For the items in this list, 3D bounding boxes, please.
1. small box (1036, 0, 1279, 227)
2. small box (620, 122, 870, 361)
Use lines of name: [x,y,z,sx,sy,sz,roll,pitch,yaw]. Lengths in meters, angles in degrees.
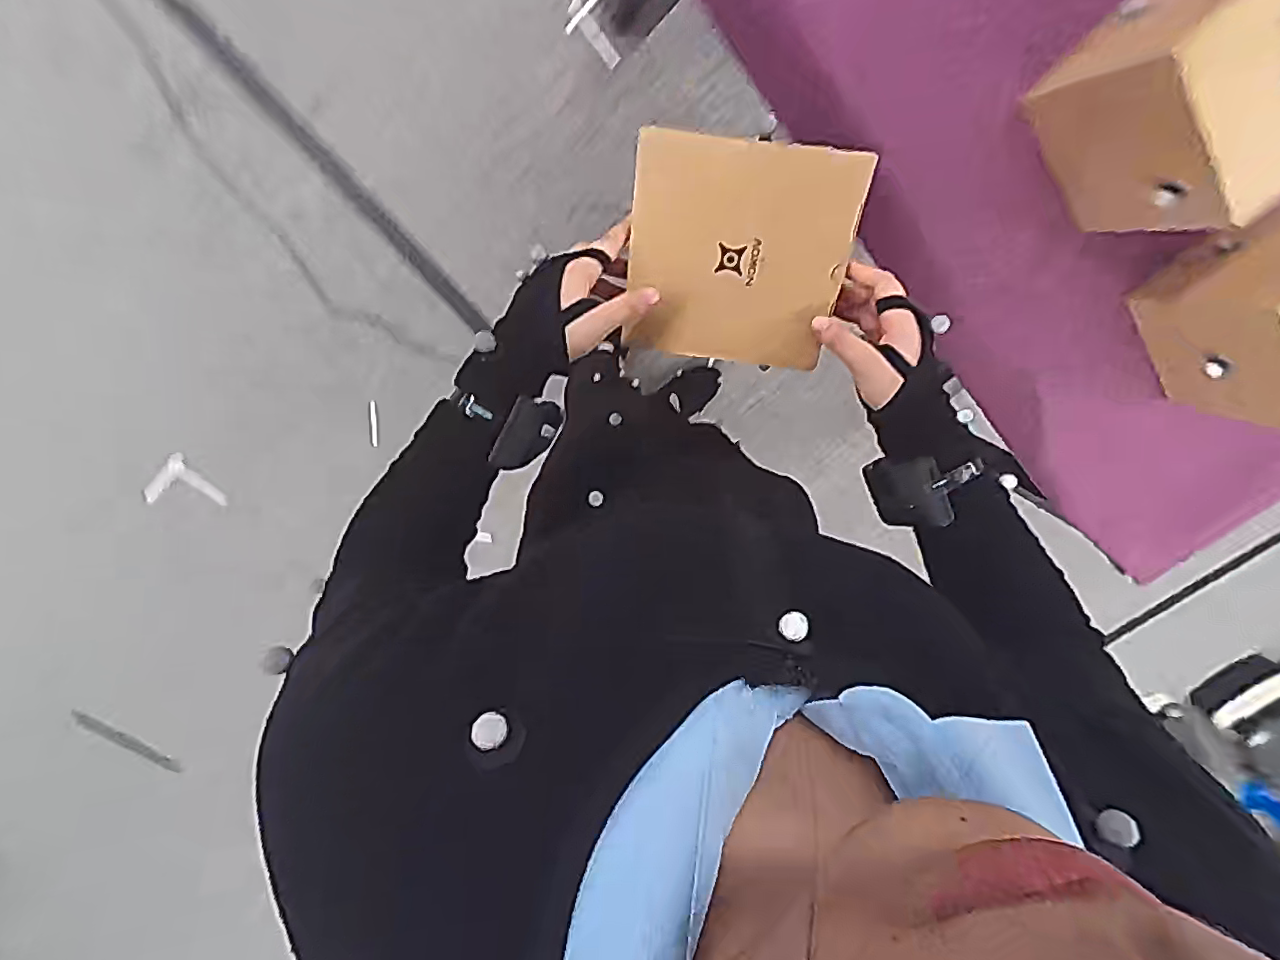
small box: [0.531,-0.366,0.505,0.168,0.176,0.179,-41,110,12]
small box: [0.081,-0.223,0.502,0.179,0.176,0.168,6,122,1]
